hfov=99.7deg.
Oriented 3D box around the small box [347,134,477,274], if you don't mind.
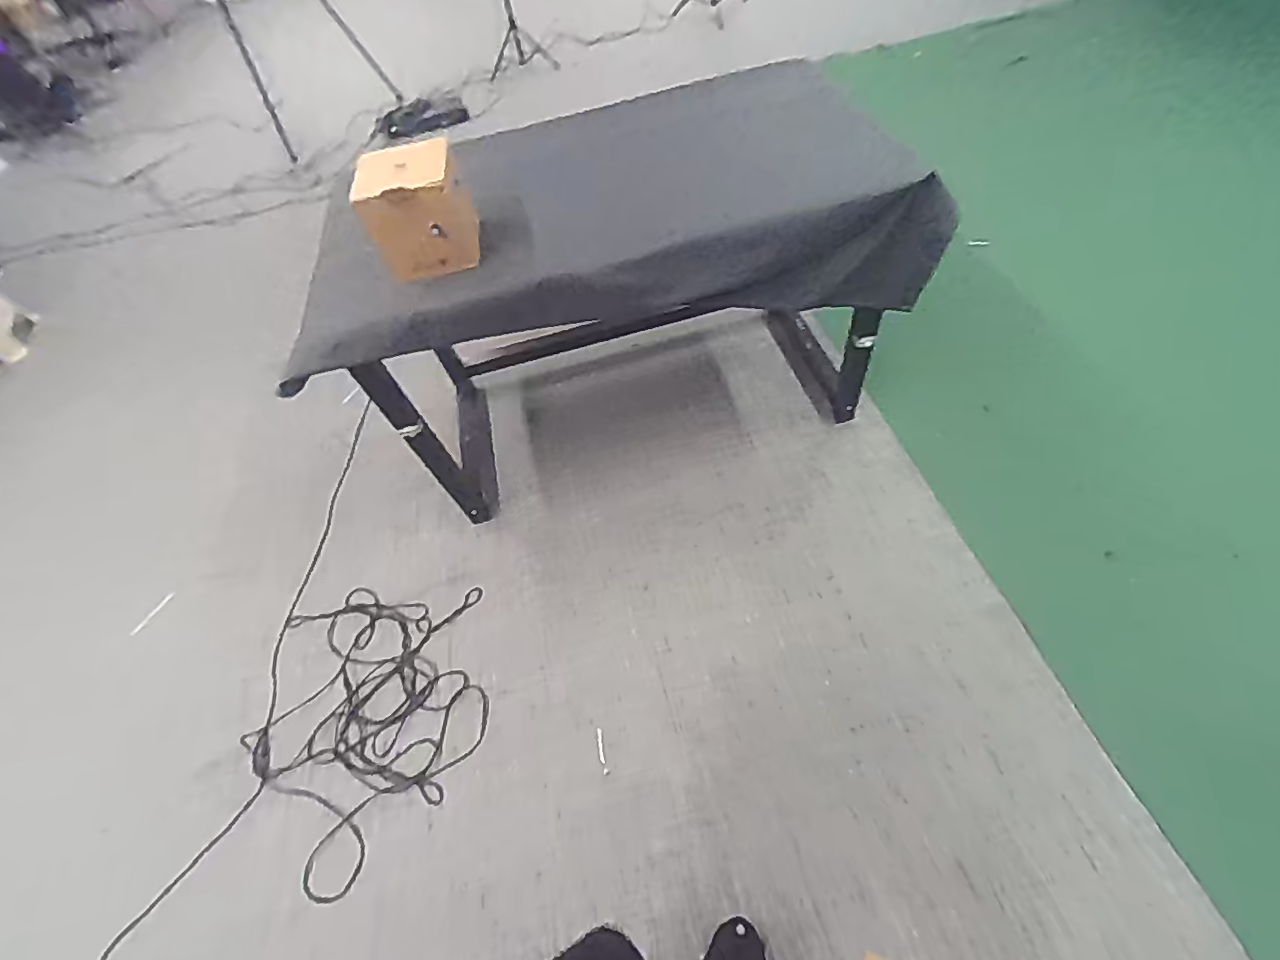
[{"bbox_3d":[-0.412,-0.505,1.009,0.168,0.176,0.179,-12,54,-1],"label":"small box"}]
